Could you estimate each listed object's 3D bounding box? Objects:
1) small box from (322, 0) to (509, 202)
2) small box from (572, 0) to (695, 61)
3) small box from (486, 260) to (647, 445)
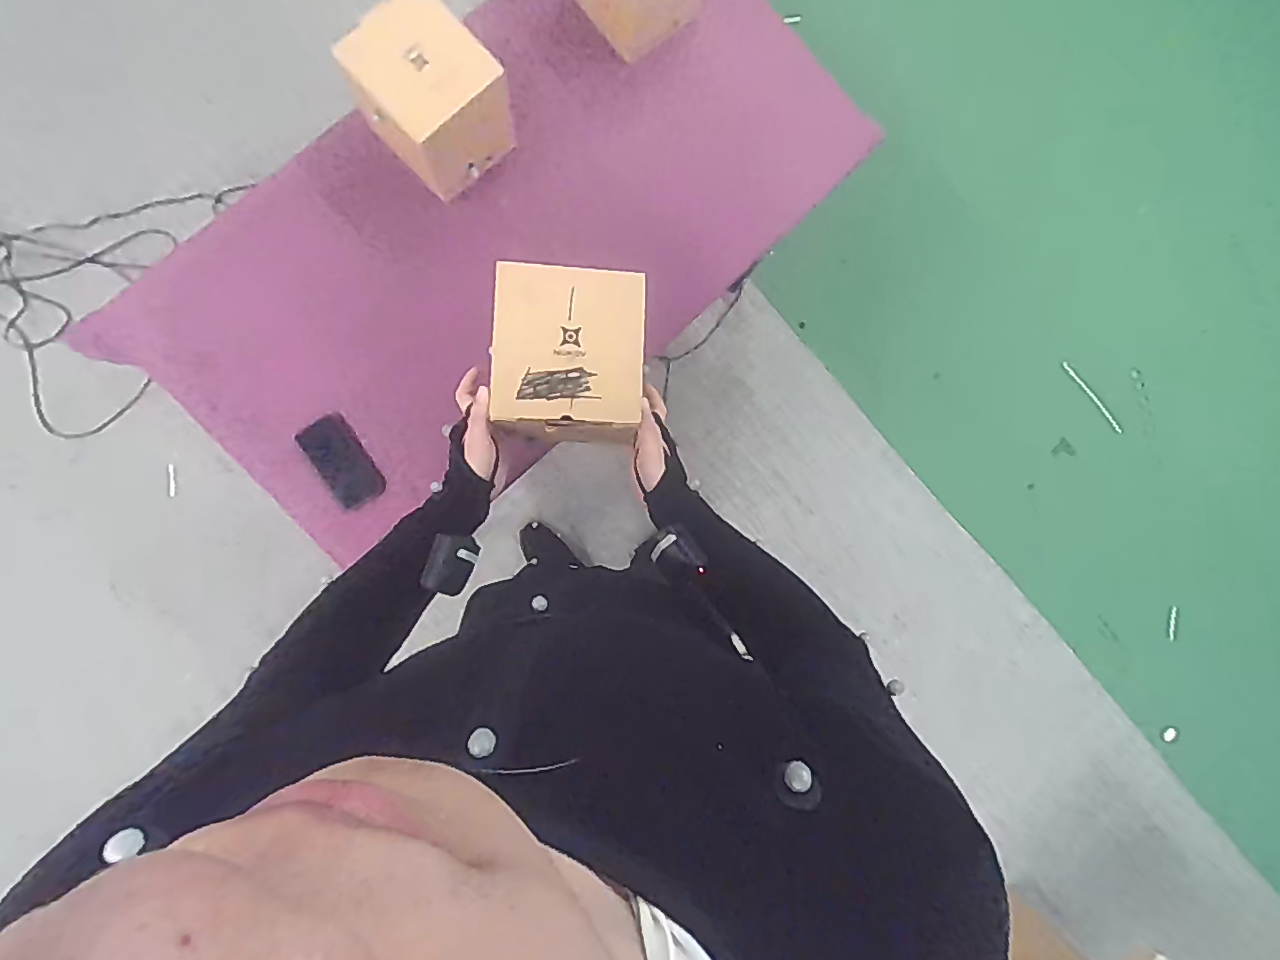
[{"bbox_3d":[-0.324,-0.571,0.821,0.168,0.176,0.179,-44,94,-5],"label":"small box"},{"bbox_3d":[-0.013,-0.837,0.863,0.168,0.176,0.179,-41,92,-5],"label":"small box"},{"bbox_3d":[-0.085,-0.139,0.657,0.168,0.176,0.179,3,86,-7],"label":"small box"}]
